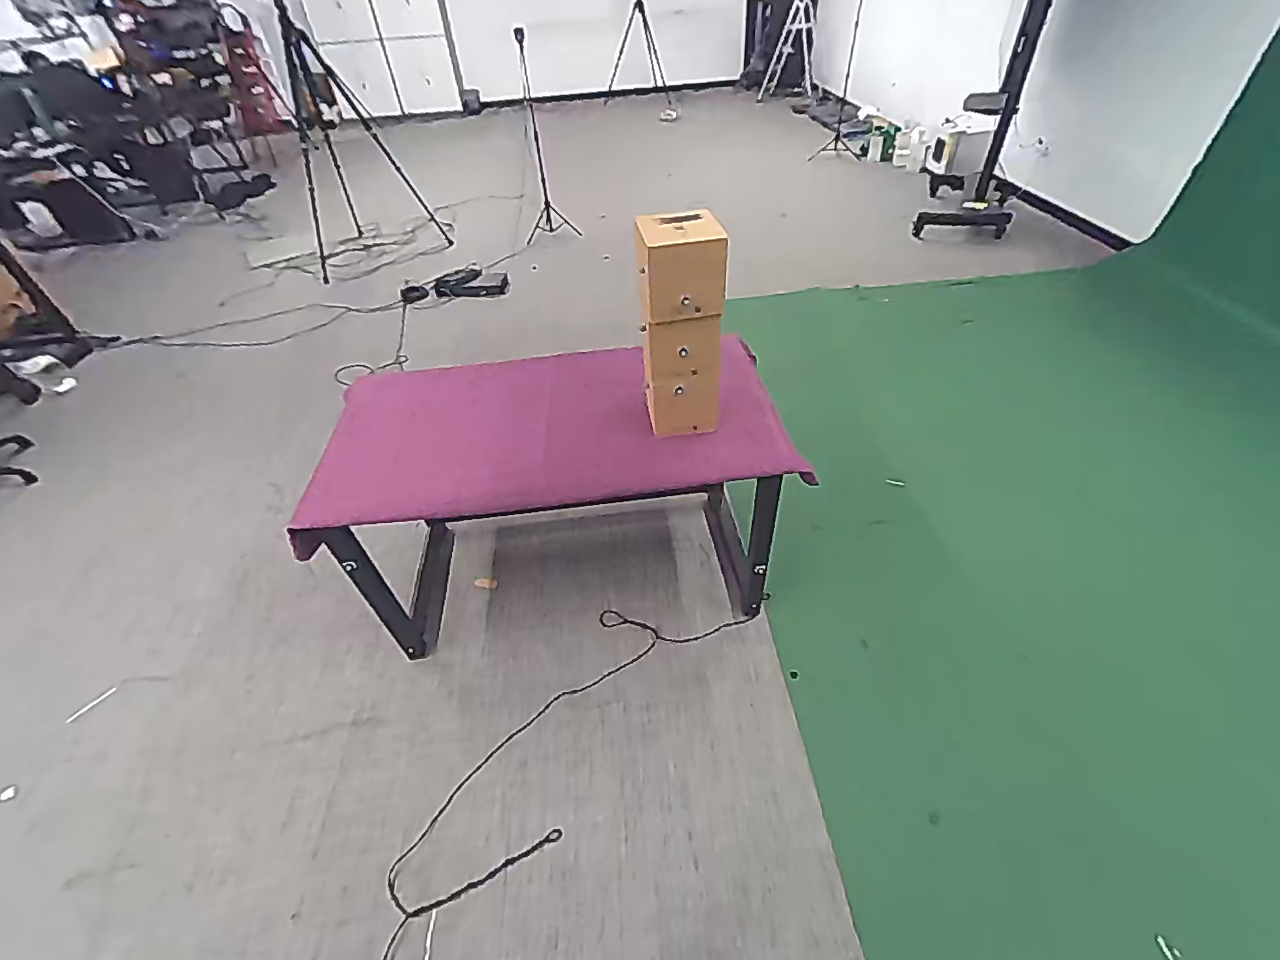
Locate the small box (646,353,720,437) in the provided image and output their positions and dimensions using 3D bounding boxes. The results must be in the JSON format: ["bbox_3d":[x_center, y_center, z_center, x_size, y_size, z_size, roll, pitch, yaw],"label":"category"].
[{"bbox_3d":[0.108,-0.234,1.406,0.168,0.176,0.179,-8,43,-2],"label":"small box"}]

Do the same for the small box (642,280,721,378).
[{"bbox_3d":[0.097,-0.355,1.293,0.168,0.176,0.179,-6,44,-2],"label":"small box"}]
